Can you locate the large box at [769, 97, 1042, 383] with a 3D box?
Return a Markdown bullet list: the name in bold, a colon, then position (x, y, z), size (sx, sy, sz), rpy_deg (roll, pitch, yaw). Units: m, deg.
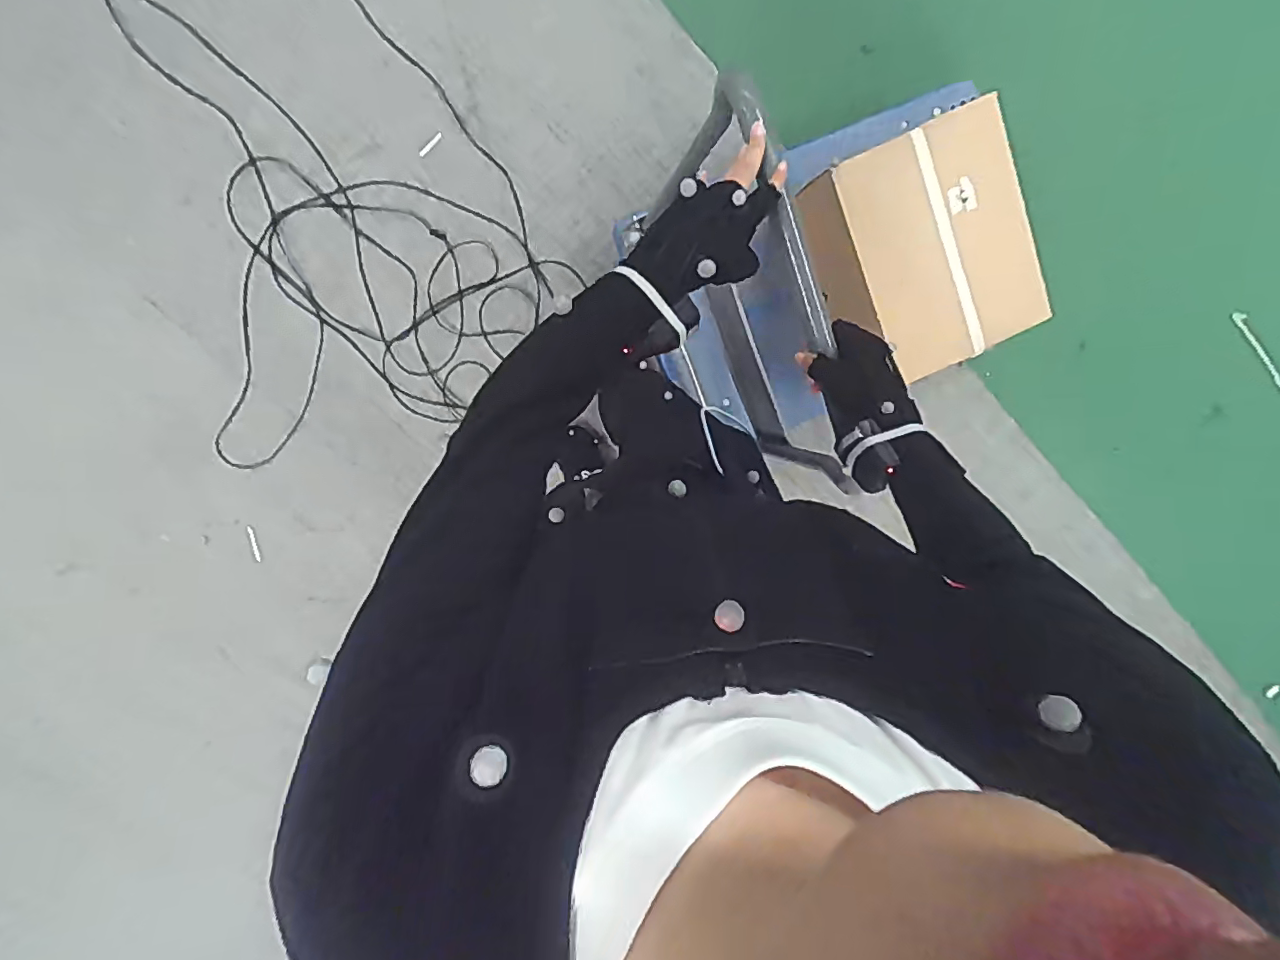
- **large box**: position (0.515, -0.445, 1.110), size (0.320, 0.320, 0.408), rpy_deg (-25, 101, -1)
